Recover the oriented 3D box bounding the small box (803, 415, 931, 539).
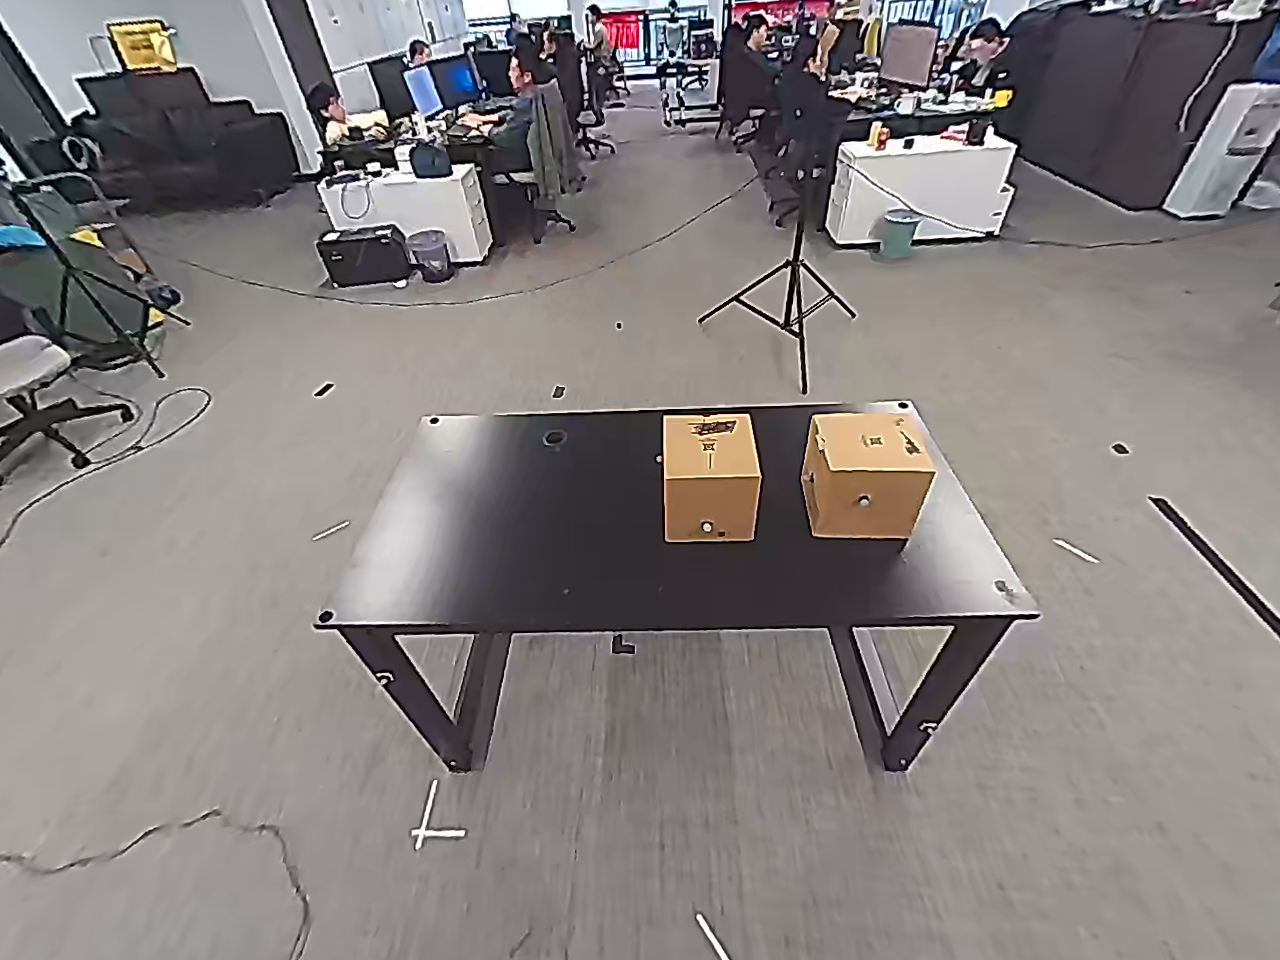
[{"bbox_3d":[0.407,-0.004,1.008,0.179,0.176,0.168,0,42,6],"label":"small box"}]

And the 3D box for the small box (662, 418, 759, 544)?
[{"bbox_3d":[0.126,0.001,1.027,0.168,0.176,0.179,-2,43,4],"label":"small box"}]
